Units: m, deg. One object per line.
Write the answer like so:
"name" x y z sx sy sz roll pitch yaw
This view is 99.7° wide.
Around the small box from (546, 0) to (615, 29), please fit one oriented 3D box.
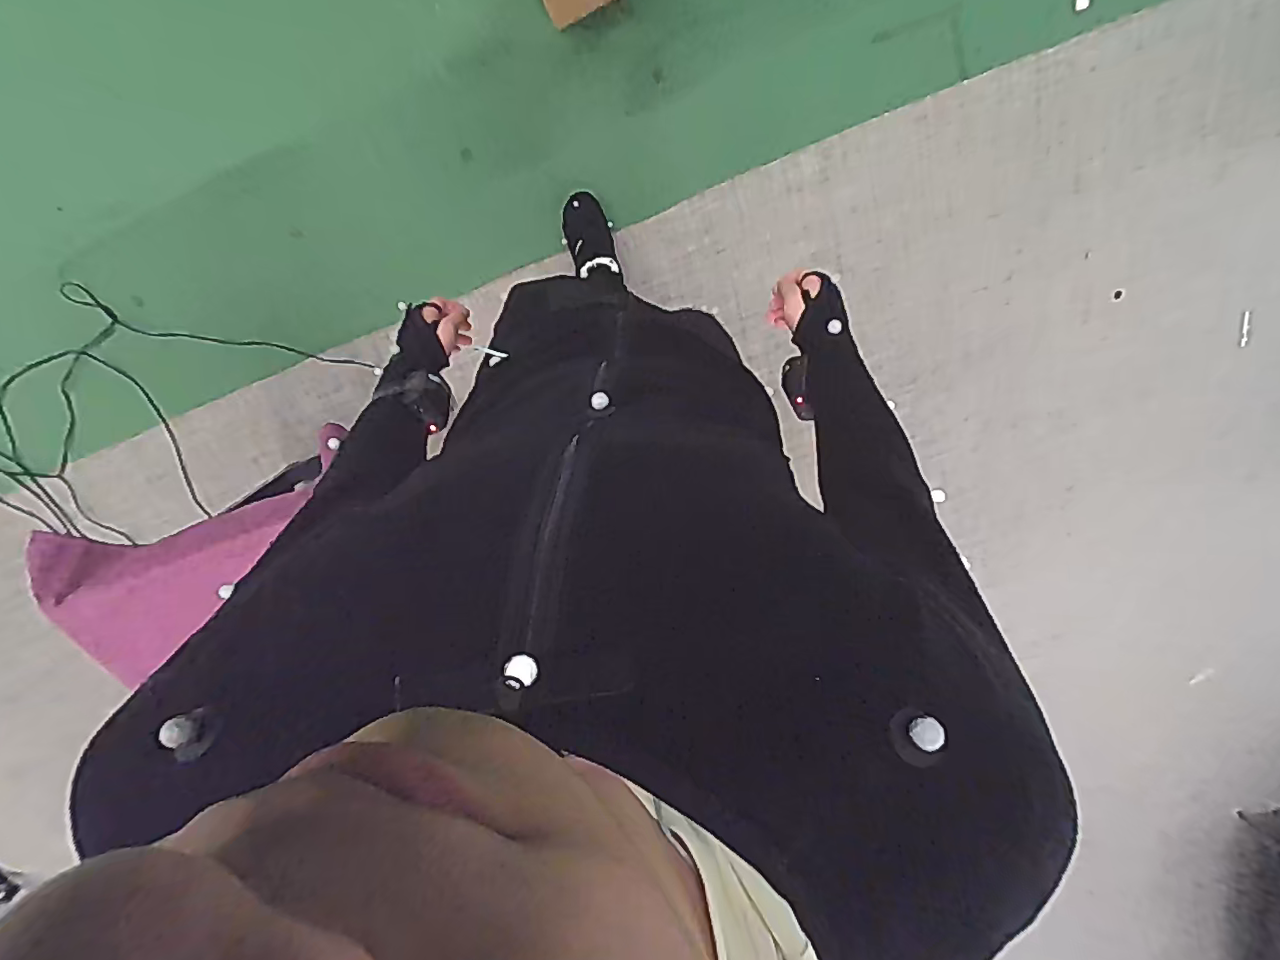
"small box" -0.134 -1.084 1.111 0.179 0.176 0.168 -23 113 9
